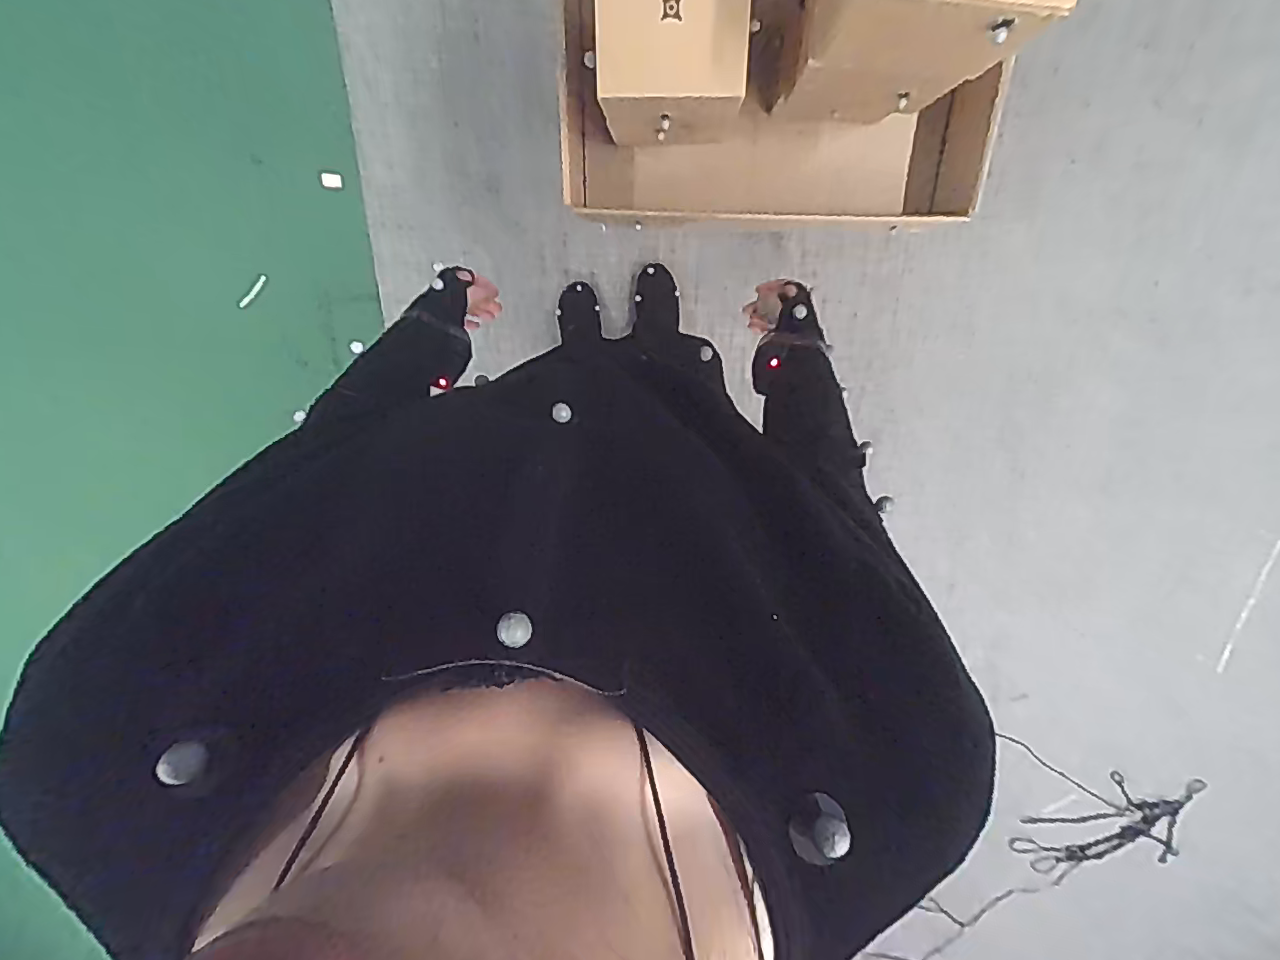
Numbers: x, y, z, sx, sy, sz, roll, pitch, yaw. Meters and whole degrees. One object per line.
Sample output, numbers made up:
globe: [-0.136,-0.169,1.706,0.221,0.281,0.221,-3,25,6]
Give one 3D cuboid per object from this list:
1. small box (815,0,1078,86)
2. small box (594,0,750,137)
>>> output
small box: [0.269,-0.473,0.473,0.179,0.176,0.168,8,112,2]
small box: [0.038,-0.521,0.640,0.168,0.176,0.179,2,112,2]
